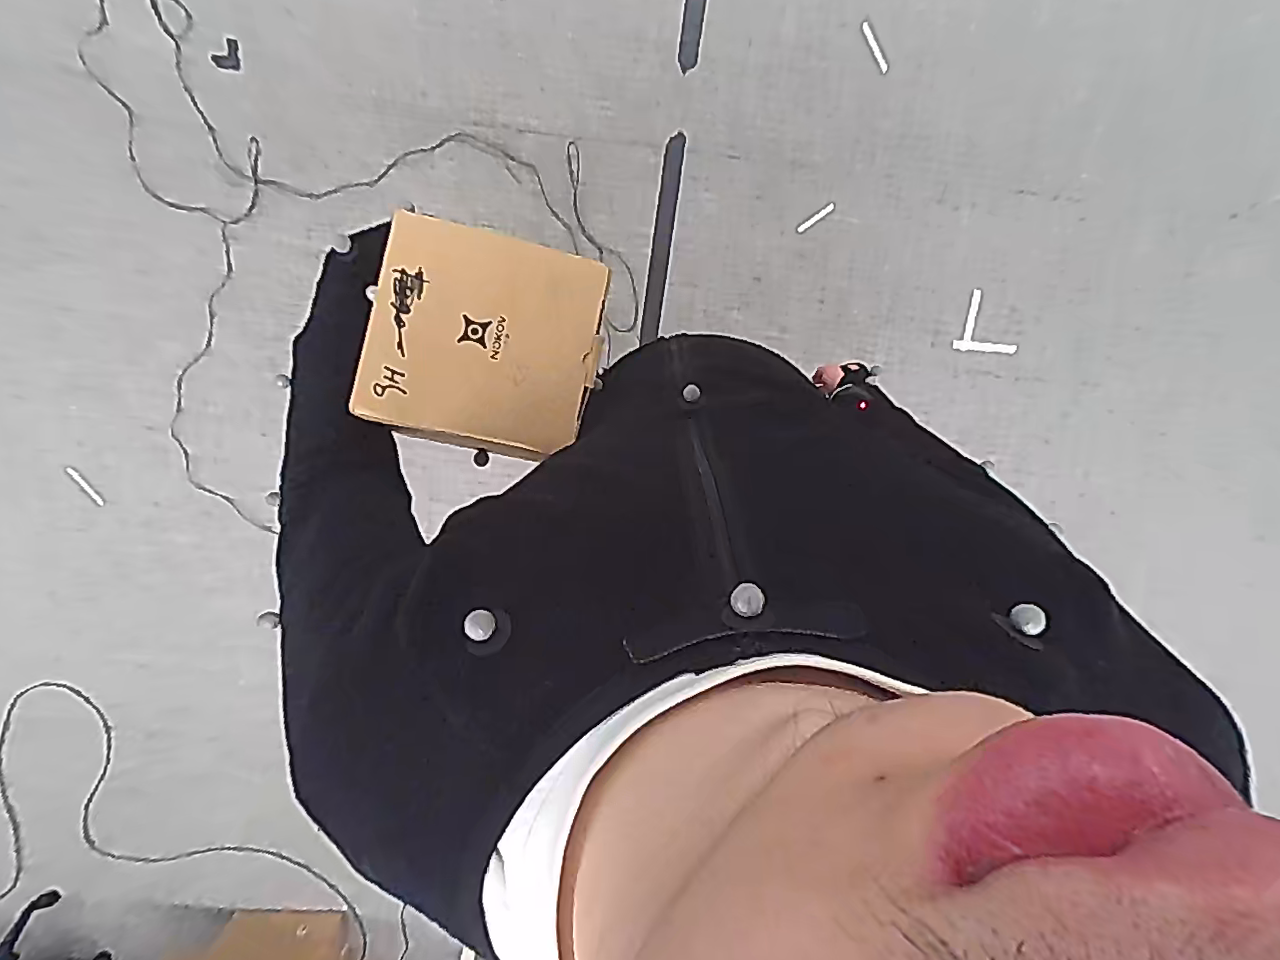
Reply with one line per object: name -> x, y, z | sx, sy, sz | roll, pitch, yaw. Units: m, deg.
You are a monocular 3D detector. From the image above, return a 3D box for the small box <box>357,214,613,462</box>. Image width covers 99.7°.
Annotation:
small box -> -0.136, -0.113, 0.517 | 0.179, 0.176, 0.168 | 12, 86, -10
